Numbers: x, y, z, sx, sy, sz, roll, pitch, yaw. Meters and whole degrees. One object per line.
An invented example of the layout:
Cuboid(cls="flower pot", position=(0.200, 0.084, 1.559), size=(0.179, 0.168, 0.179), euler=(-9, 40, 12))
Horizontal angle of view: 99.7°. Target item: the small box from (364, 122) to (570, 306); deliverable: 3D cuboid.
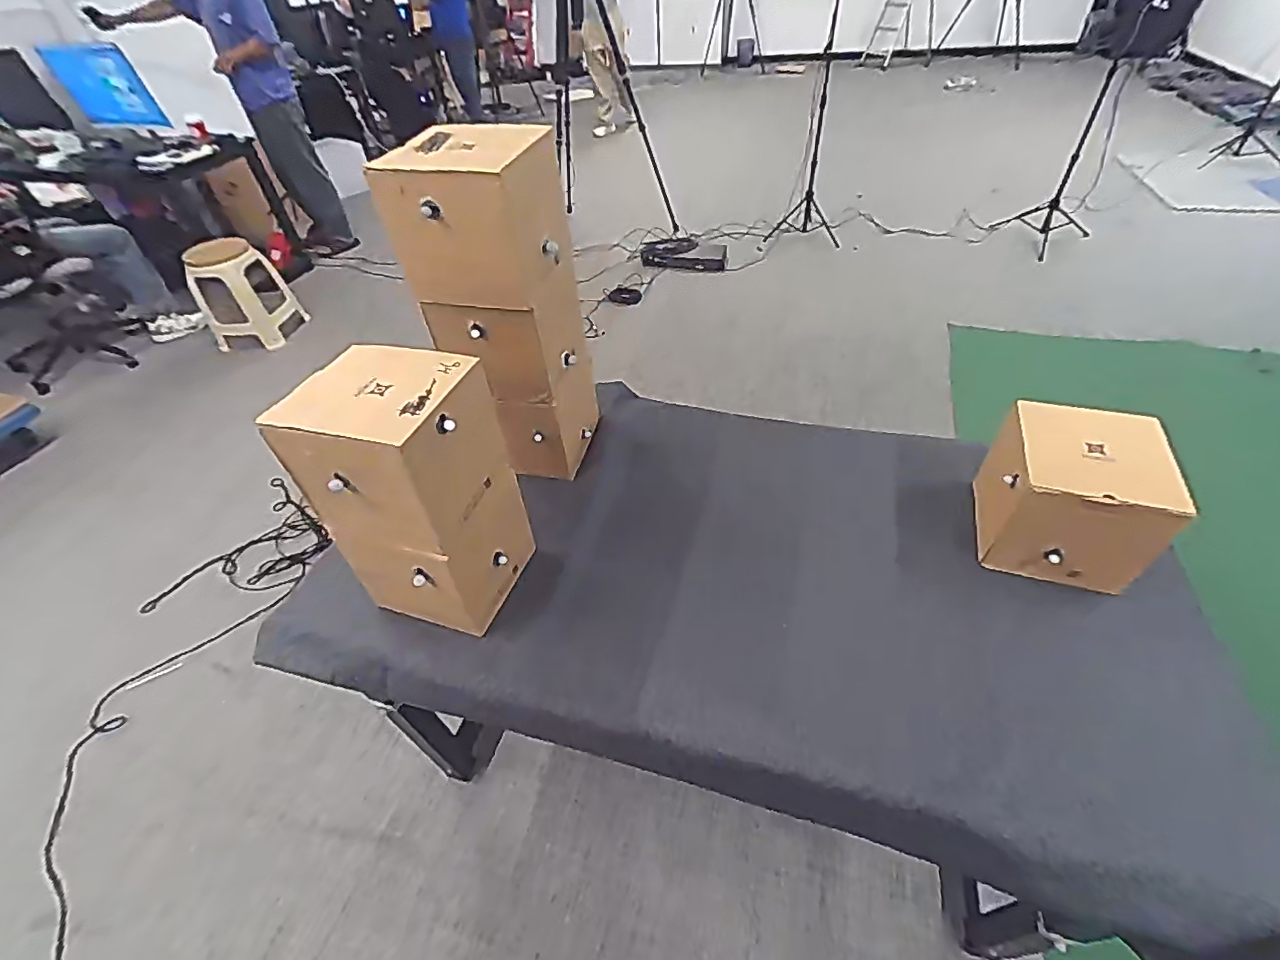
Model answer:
Cuboid(cls="small box", position=(-0.207, -0.345, 0.705), size=(0.179, 0.176, 0.168), euler=(9, 49, 12))

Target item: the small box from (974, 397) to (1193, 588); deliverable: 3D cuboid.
Cuboid(cls="small box", position=(0.577, 0.016, 0.737), size=(0.168, 0.176, 0.179), euler=(11, 49, 16))

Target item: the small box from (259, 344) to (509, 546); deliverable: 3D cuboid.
Cuboid(cls="small box", position=(-0.281, -0.042, 0.638), size=(0.179, 0.176, 0.168), euler=(8, 45, 13))

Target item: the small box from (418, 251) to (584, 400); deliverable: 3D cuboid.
Cuboid(cls="small box", position=(-0.198, -0.240, 0.831), size=(0.179, 0.176, 0.168), euler=(8, 49, 11))

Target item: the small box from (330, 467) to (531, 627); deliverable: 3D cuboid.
Cuboid(cls="small box", position=(-0.271, 0.079, 0.748), size=(0.179, 0.176, 0.168), euler=(11, 45, 15))
